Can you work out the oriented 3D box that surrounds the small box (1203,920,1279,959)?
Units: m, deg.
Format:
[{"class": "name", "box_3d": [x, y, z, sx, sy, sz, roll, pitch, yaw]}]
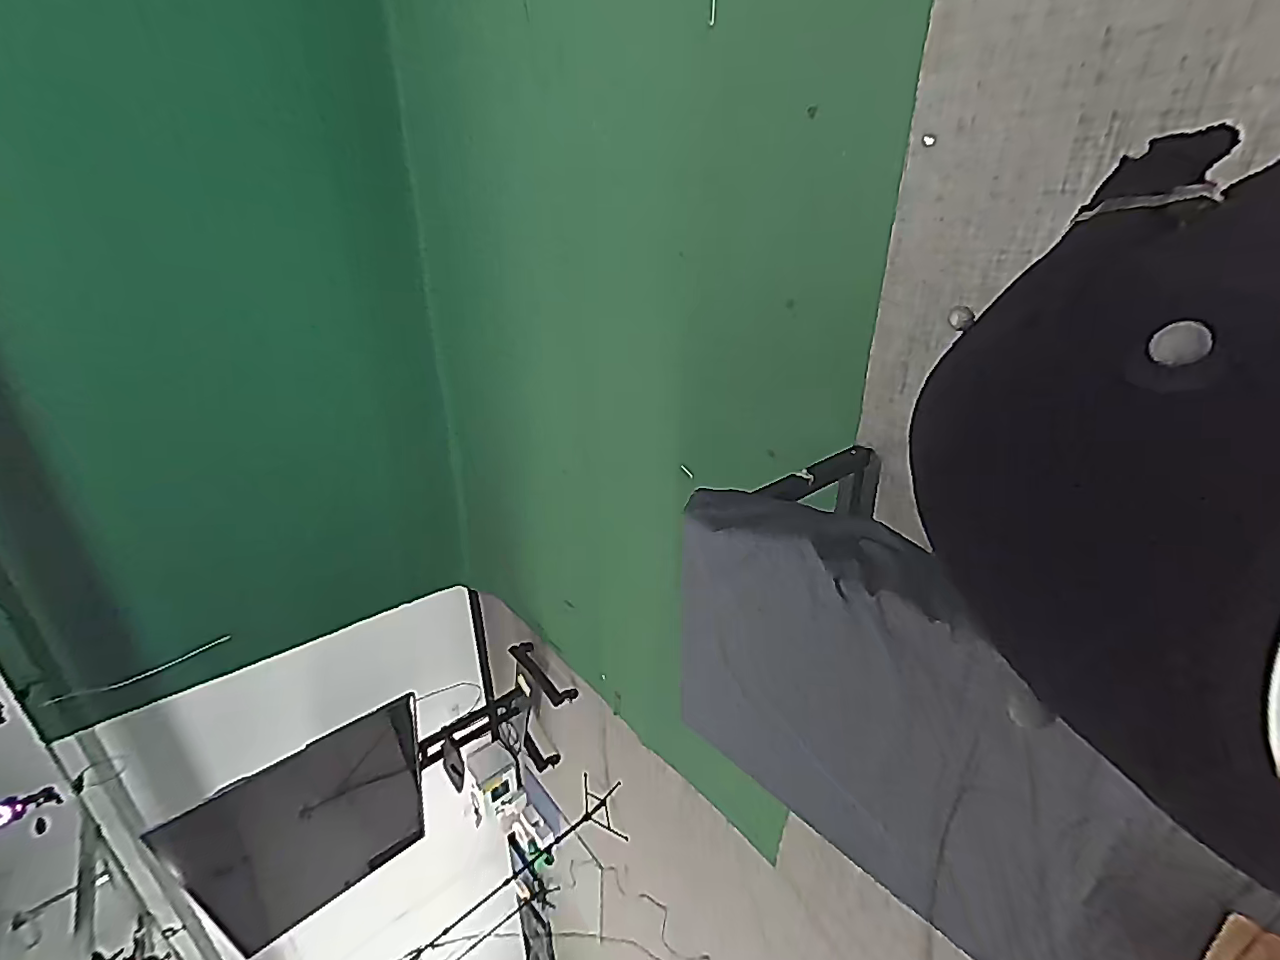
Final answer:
[{"class": "small box", "box_3d": [0.686, 0.622, 0.557, 0.168, 0.176, 0.179, 22, 121, 46]}]
